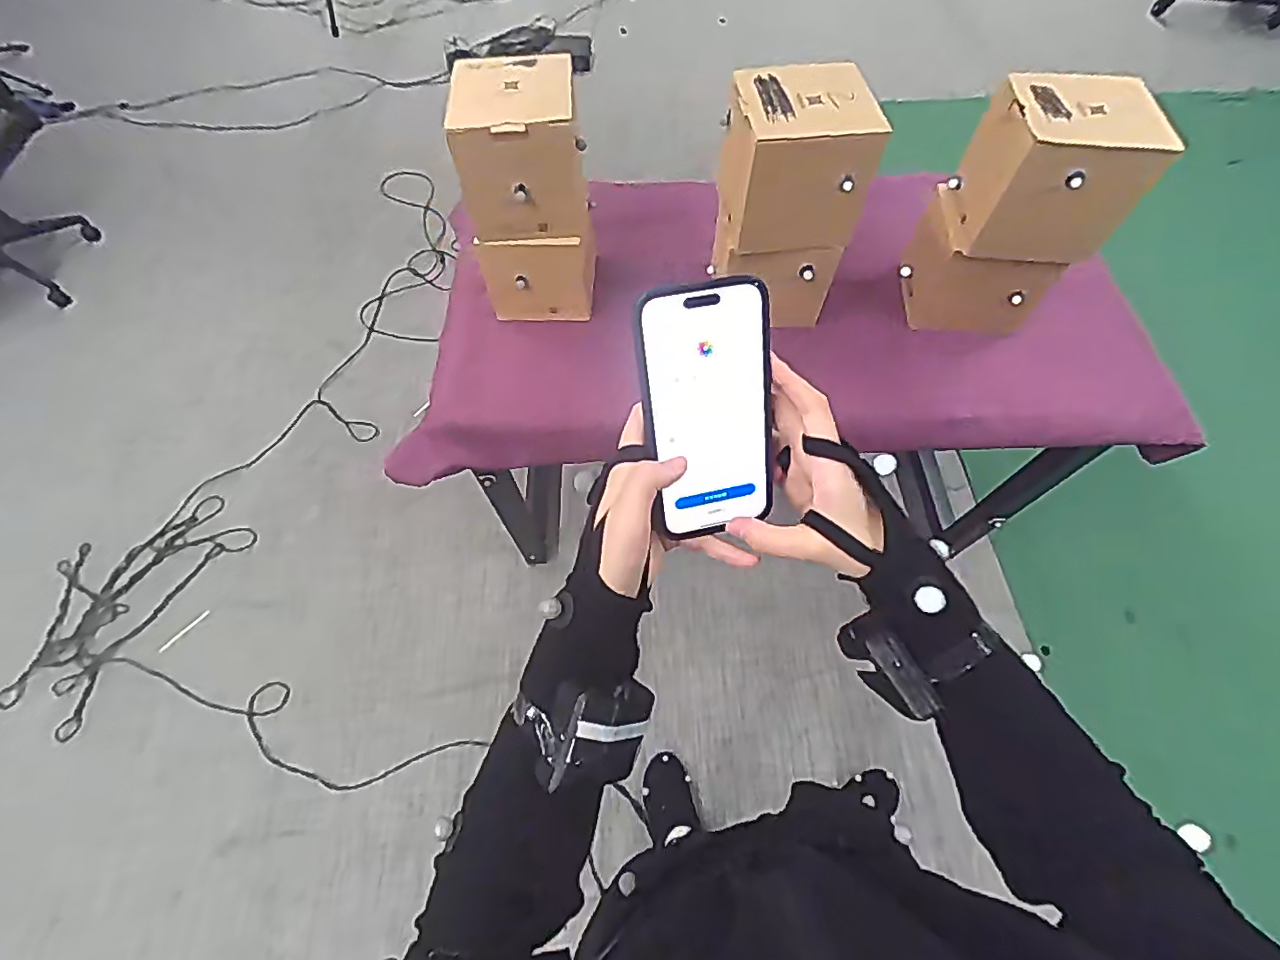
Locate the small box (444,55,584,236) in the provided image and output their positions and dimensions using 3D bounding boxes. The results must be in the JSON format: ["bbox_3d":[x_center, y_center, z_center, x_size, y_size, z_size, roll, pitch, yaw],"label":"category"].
[{"bbox_3d":[-0.173,-0.481,0.796,0.168,0.176,0.179,-4,62,-1],"label":"small box"}]

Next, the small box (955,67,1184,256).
[{"bbox_3d":[0.566,-0.435,0.749,0.179,0.176,0.168,5,61,4],"label":"small box"}]

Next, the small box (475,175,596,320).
[{"bbox_3d":[-0.168,-0.395,0.936,0.168,0.176,0.179,0,61,2],"label":"small box"}]

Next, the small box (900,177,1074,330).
[{"bbox_3d":[0.562,-0.370,0.900,0.179,0.176,0.168,5,61,5],"label":"small box"}]

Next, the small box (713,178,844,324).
[{"bbox_3d":[0.222,-0.381,0.915,0.179,0.176,0.168,-1,61,2],"label":"small box"}]
